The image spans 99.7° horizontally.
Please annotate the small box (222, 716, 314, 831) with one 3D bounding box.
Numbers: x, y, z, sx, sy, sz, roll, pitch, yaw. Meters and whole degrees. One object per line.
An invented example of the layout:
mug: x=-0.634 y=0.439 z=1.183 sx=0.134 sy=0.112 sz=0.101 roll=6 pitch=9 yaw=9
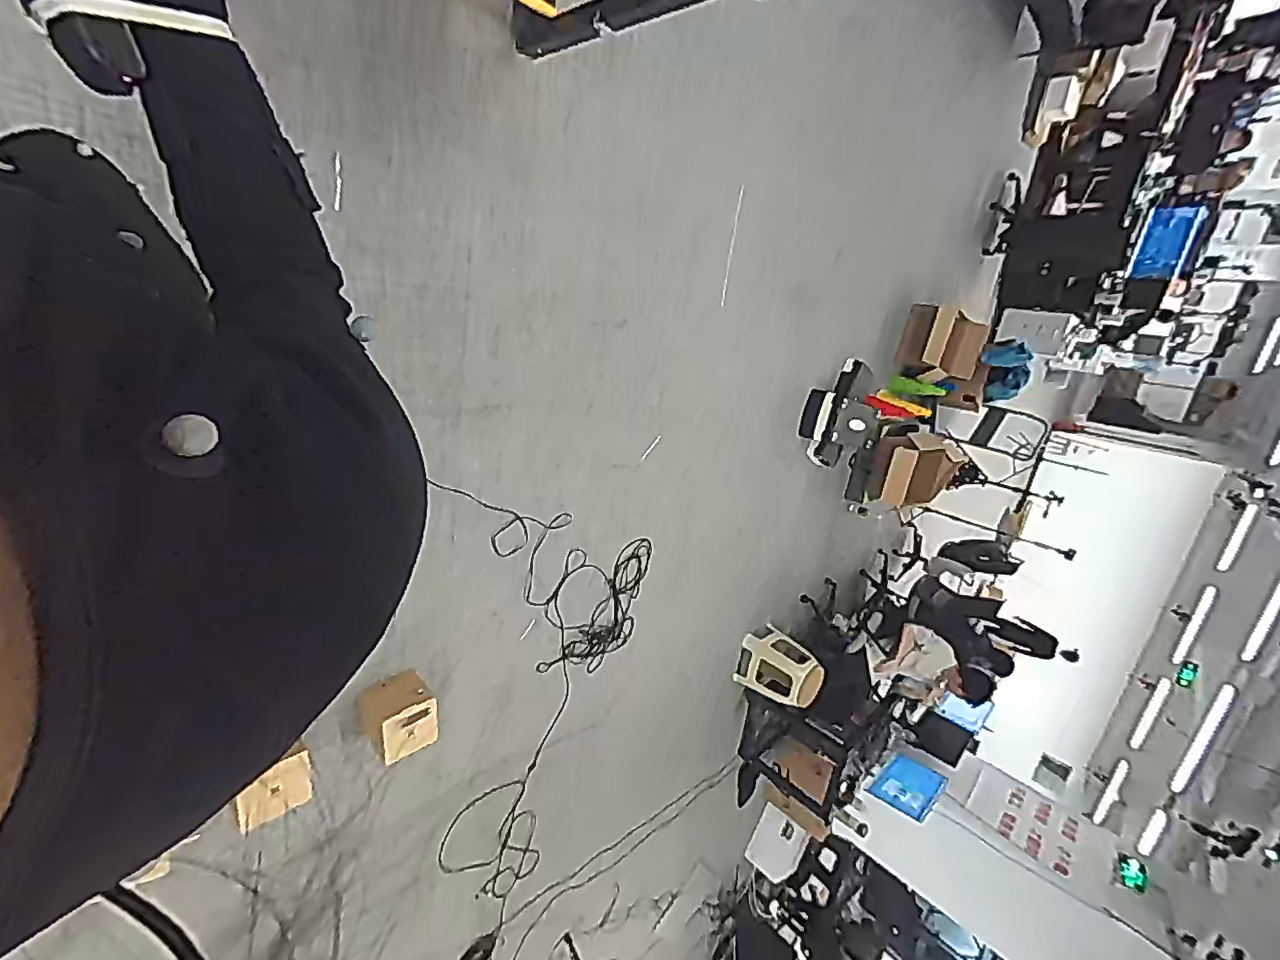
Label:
small box: x=-1.002 y=0.781 z=1.458 sx=0.168 sy=0.176 sz=0.179 roll=-13 pitch=115 yaw=-46
